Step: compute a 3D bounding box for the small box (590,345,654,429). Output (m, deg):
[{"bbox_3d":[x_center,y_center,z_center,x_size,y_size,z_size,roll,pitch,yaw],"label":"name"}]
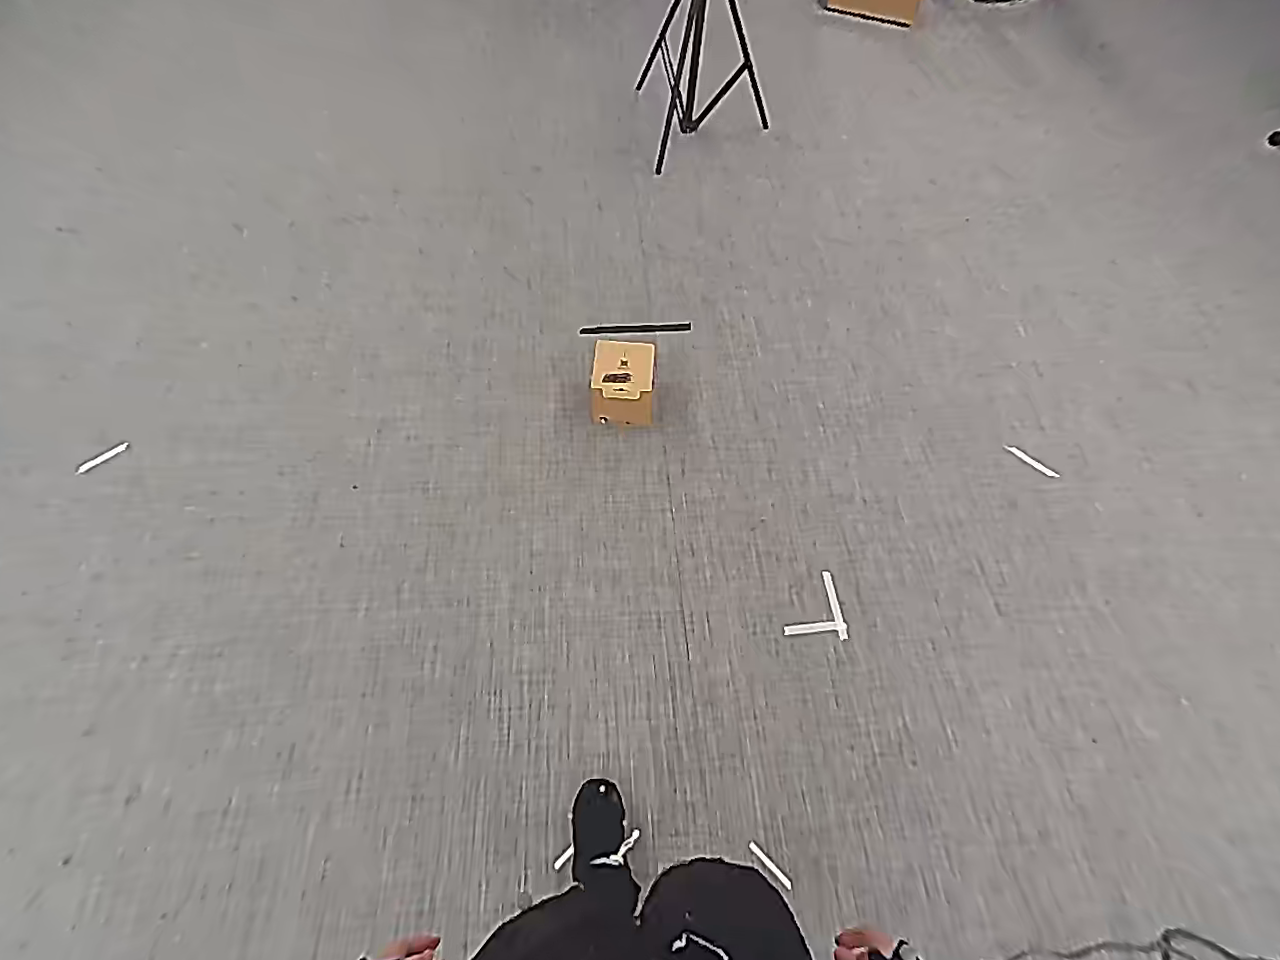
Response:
[{"bbox_3d":[-0.048,-0.263,1.553,0.168,0.176,0.179,4,61,0],"label":"small box"}]
